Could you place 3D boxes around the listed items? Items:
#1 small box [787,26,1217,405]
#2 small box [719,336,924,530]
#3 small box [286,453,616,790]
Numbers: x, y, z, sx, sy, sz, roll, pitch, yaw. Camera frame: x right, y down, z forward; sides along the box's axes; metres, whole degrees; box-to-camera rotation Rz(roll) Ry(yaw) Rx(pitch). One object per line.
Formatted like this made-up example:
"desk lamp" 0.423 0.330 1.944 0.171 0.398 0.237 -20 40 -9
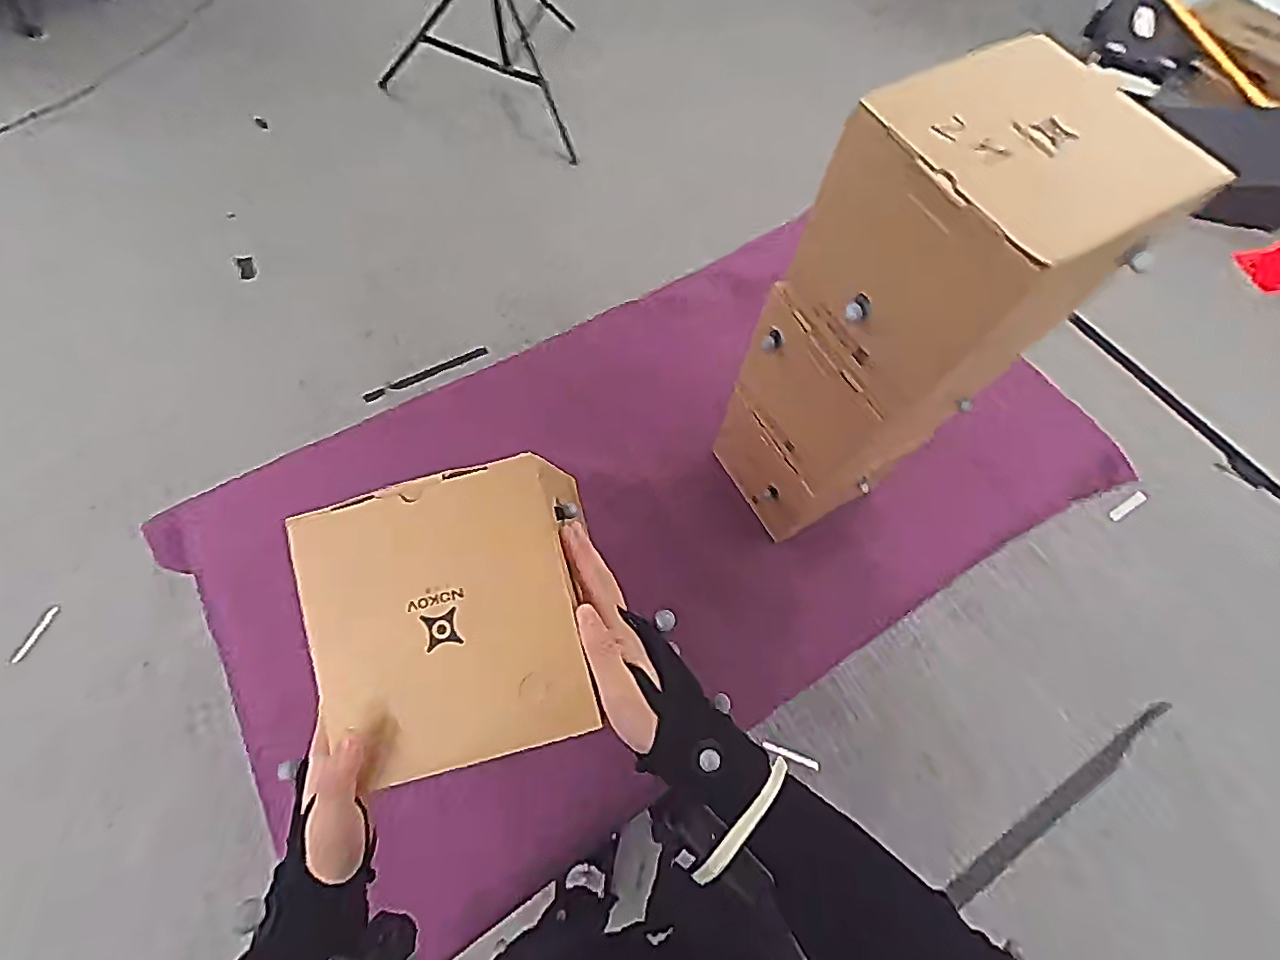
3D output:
"small box" 0.245 -0.190 0.416 0.179 0.176 0.168 -28 70 -14
"small box" 0.220 -0.056 0.716 0.179 0.176 0.168 -27 71 -14
"small box" -0.121 0.092 0.411 0.168 0.176 0.179 -15 84 1
